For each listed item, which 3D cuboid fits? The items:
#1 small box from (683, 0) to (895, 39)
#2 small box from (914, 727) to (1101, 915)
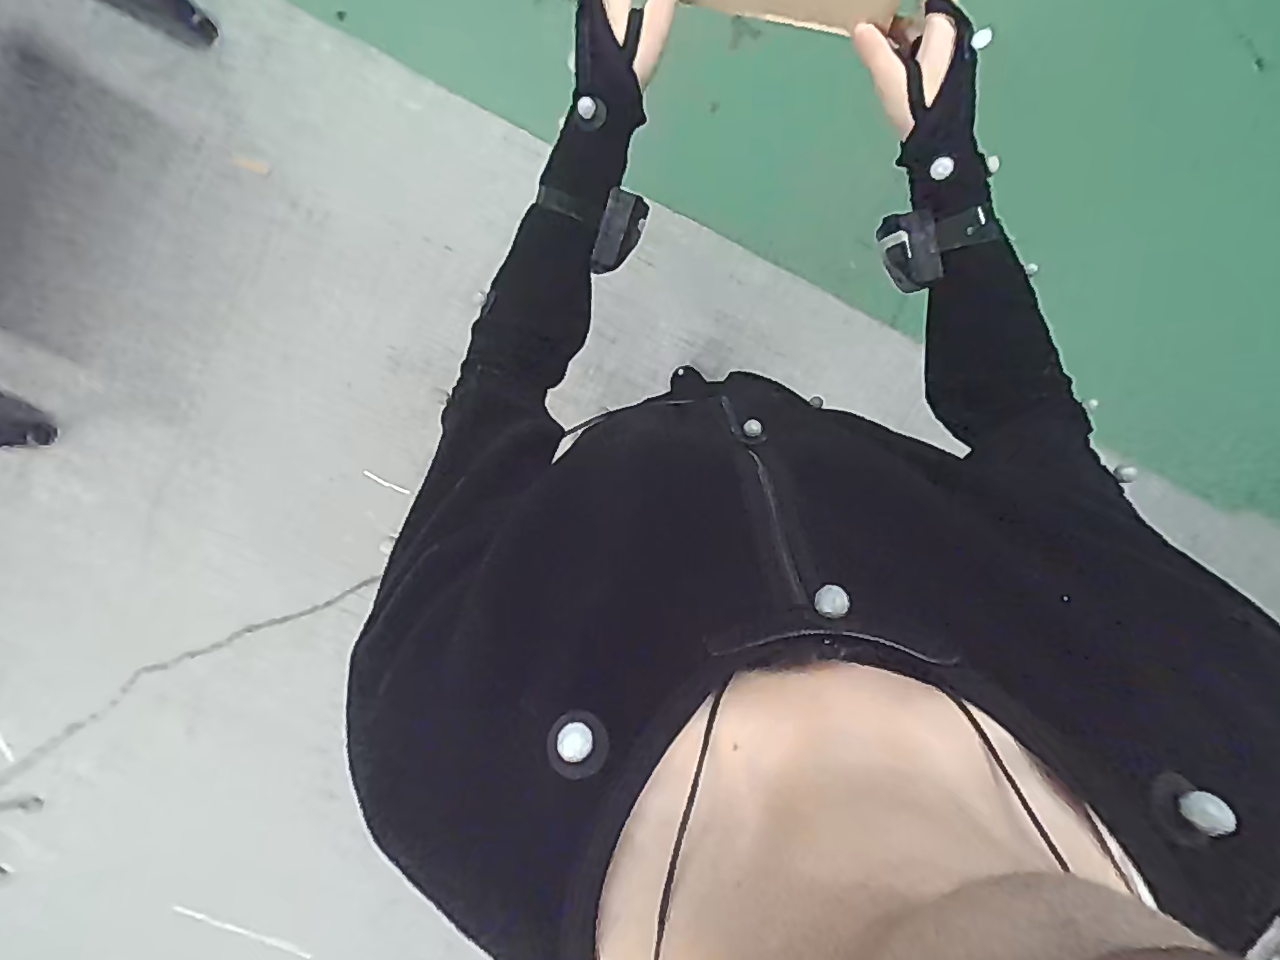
[{"bbox_3d":[0.101,-0.452,0.391,0.179,0.176,0.168,-1,137,-13],"label":"small box"},{"bbox_3d":[0.608,0.574,0.928,0.168,0.176,0.179,34,99,-7],"label":"small box"}]
